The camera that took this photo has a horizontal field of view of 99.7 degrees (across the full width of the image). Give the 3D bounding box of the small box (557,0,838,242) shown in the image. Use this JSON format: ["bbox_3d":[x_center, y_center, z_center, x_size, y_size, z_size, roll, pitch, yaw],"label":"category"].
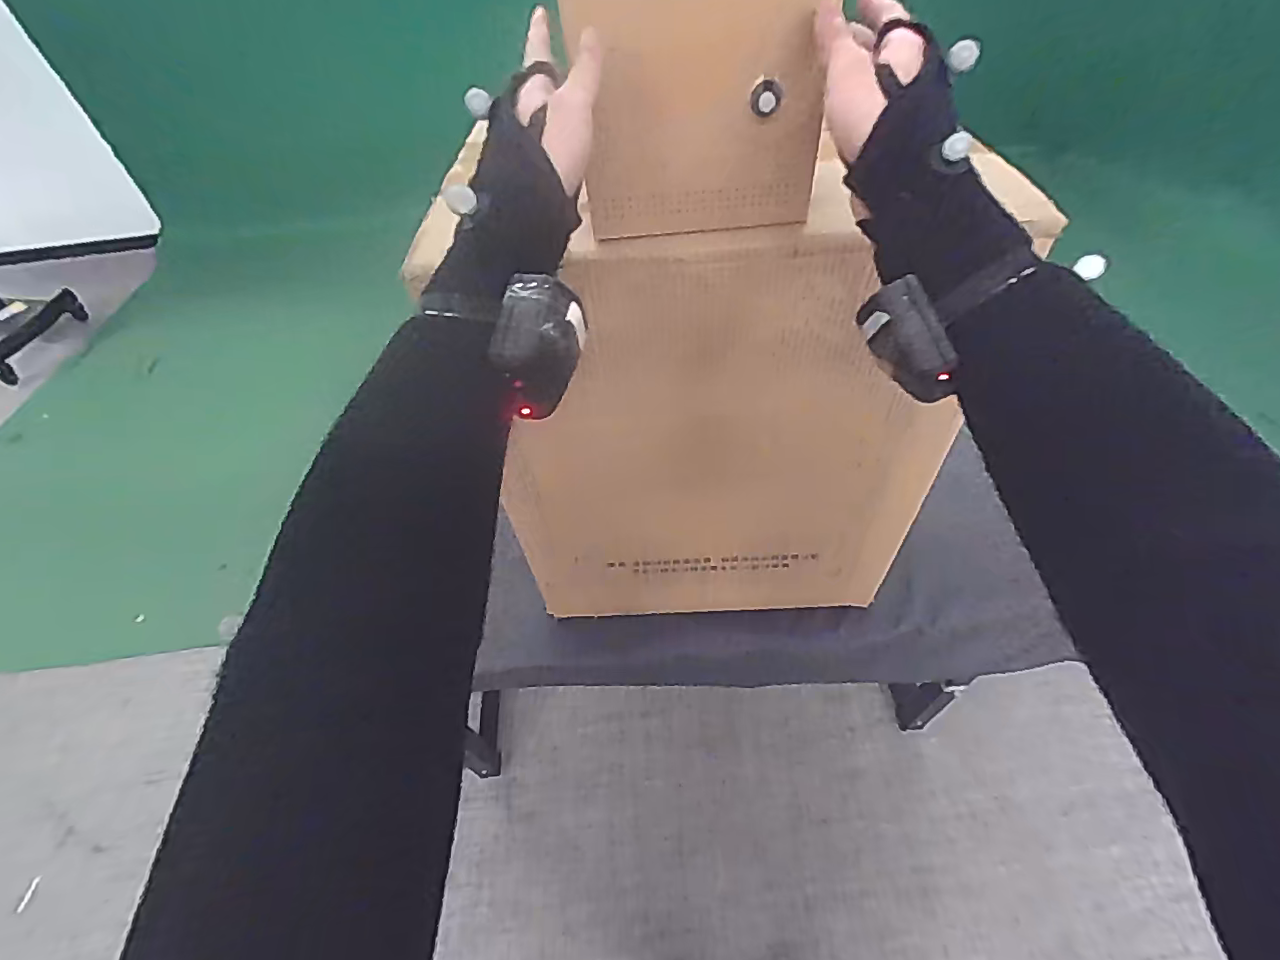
[{"bbox_3d":[0.041,-0.315,0.433,0.179,0.176,0.168,-4,51,4],"label":"small box"}]
